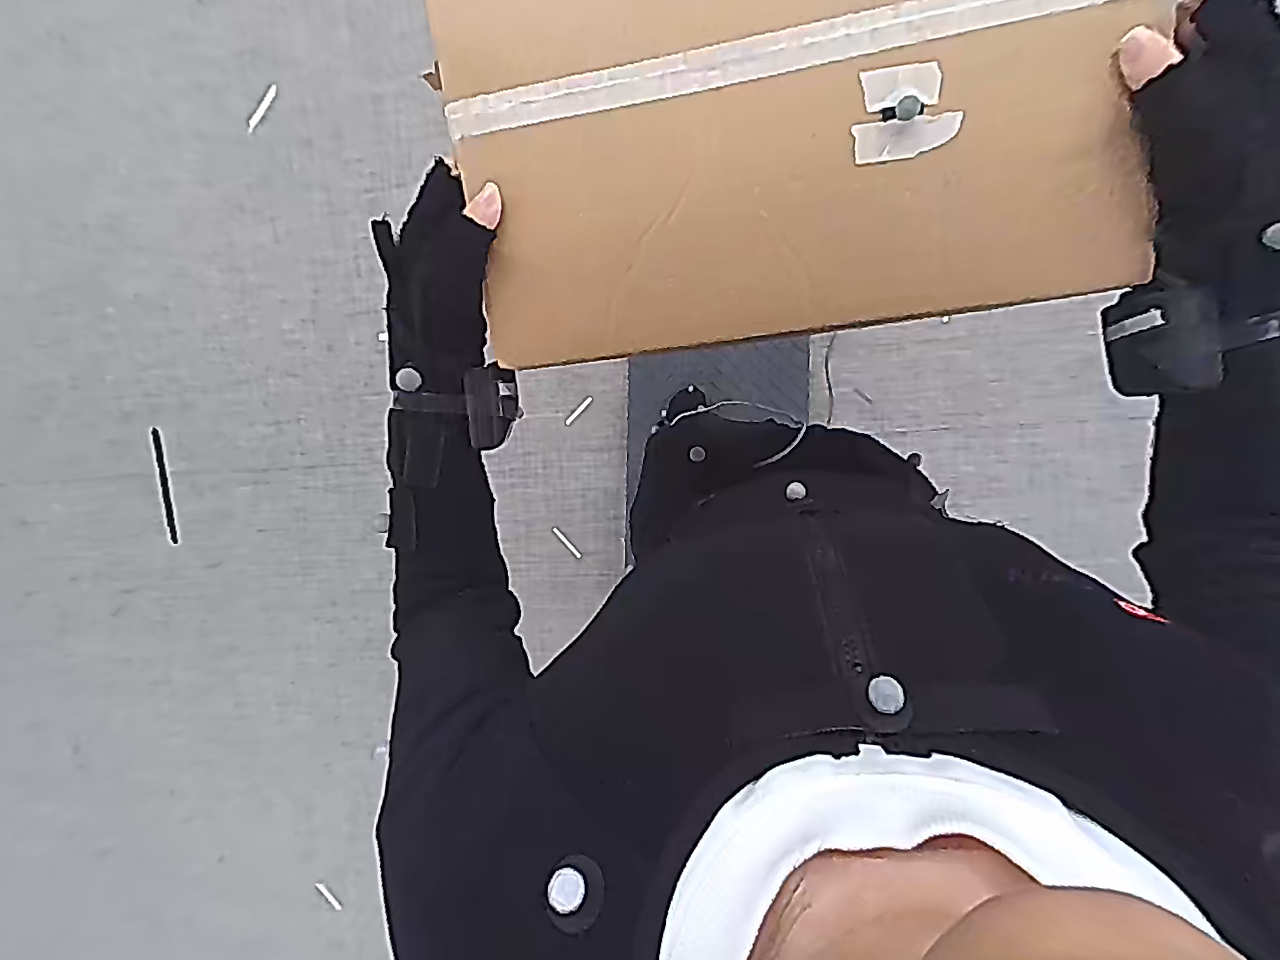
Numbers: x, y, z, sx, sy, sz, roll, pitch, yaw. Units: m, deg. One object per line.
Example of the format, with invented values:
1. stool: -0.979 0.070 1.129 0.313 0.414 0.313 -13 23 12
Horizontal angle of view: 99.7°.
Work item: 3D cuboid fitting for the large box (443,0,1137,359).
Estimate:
1. large box: 0.095 -0.292 0.472 0.408 0.320 0.320 -6 104 8
